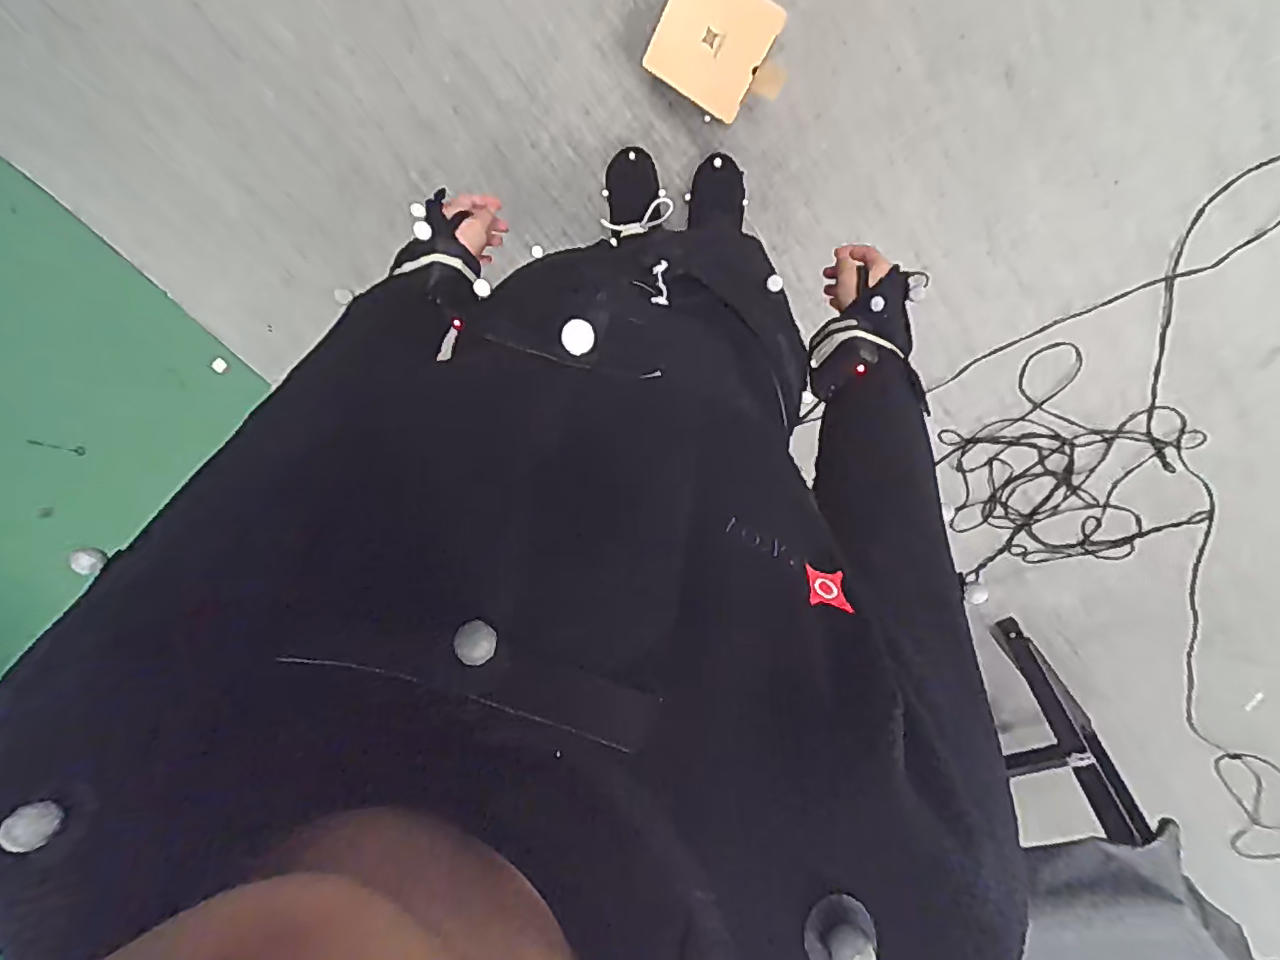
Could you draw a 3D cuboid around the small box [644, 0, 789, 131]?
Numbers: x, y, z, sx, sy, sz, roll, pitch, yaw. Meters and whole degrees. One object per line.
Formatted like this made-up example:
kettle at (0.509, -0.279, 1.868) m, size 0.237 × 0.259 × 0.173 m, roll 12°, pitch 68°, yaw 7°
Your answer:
small box at (0.129, -0.729, 0.927) m, size 0.179 × 0.176 × 0.168 m, roll 28°, pitch 123°, yaw -10°
